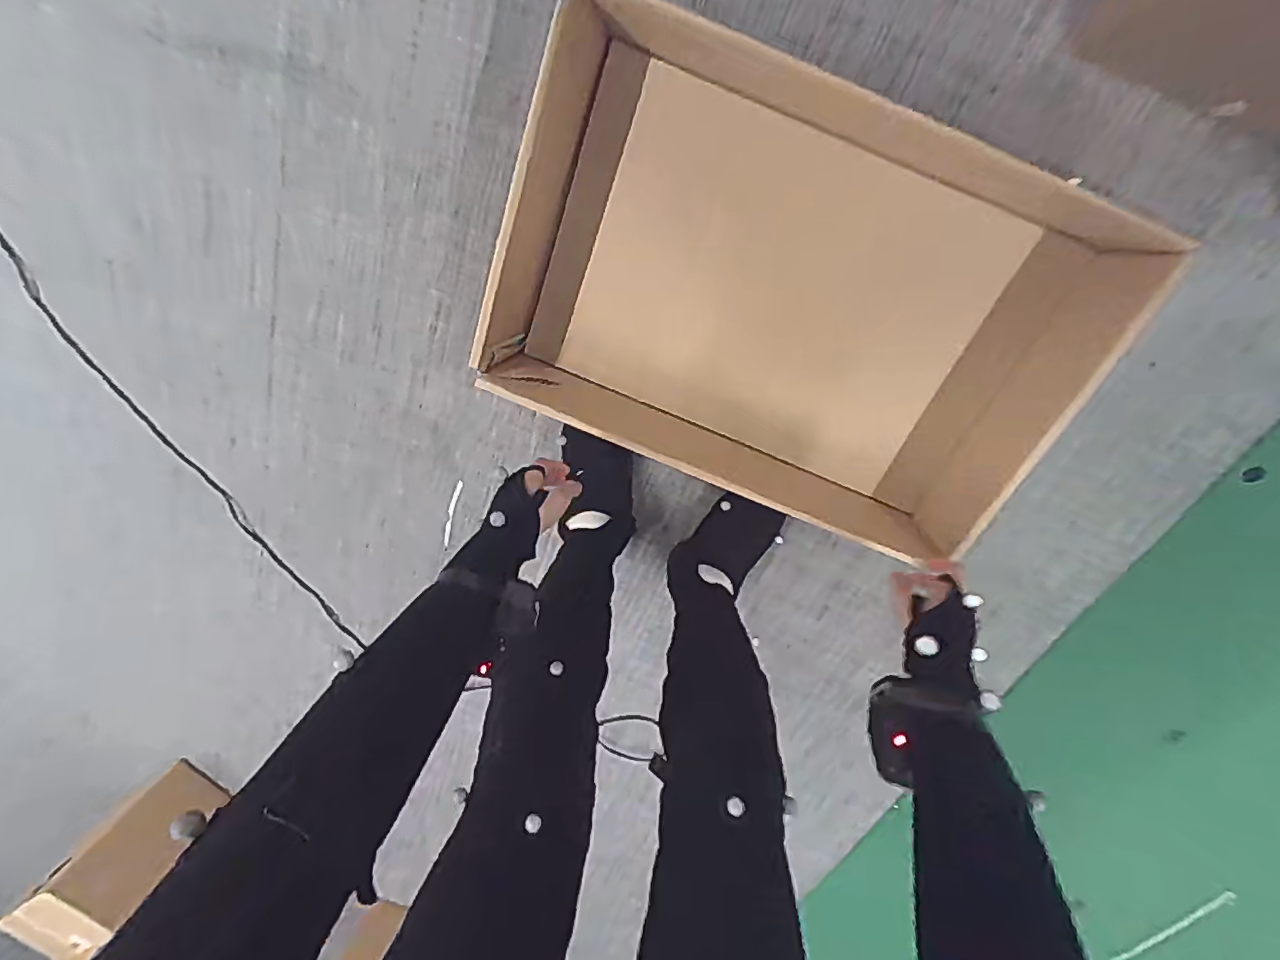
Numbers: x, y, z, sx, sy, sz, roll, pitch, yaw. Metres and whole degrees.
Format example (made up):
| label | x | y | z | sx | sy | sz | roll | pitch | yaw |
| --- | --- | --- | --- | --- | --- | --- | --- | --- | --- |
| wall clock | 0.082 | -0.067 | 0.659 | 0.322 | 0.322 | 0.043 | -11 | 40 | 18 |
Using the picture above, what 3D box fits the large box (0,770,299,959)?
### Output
| label | x | y | z | sx | sy | sz | roll | pitch | yaw |
| --- | --- | --- | --- | --- | --- | --- | --- | --- | --- |
| large box | -1.160 | 1.007 | 1.317 | 0.320 | 0.320 | 0.408 | -35 | 103 | 21 |
